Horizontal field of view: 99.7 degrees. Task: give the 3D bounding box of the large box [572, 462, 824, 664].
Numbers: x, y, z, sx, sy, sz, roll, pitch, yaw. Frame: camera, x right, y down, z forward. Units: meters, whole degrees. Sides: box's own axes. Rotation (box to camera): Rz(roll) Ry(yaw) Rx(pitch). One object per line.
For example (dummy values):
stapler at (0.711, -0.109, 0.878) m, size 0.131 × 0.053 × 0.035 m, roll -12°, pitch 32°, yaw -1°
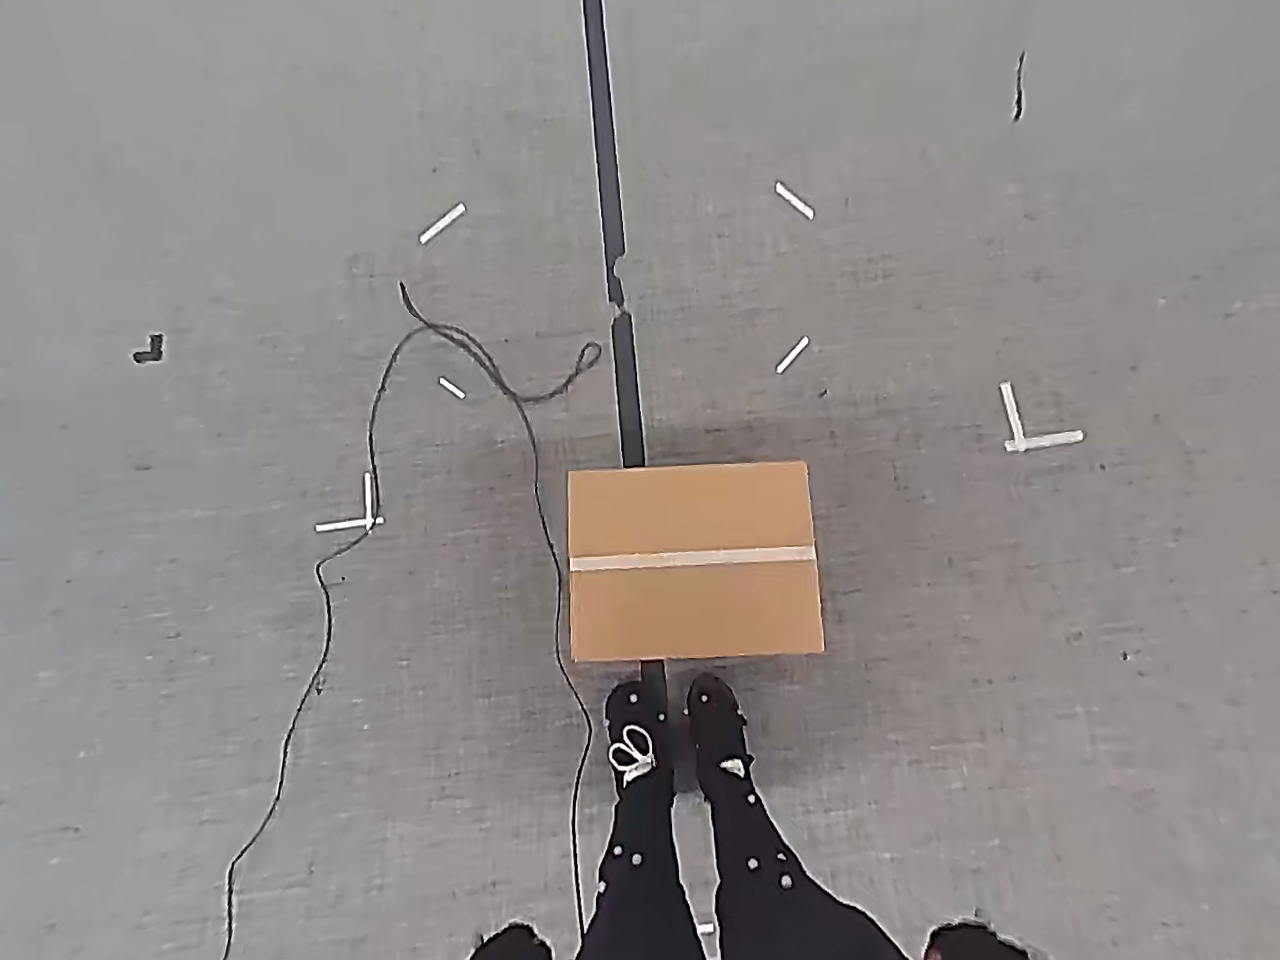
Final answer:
large box at (0.092, 0.158, 1.037) m, size 0.408 × 0.320 × 0.320 m, roll -3°, pitch 81°, yaw 1°
